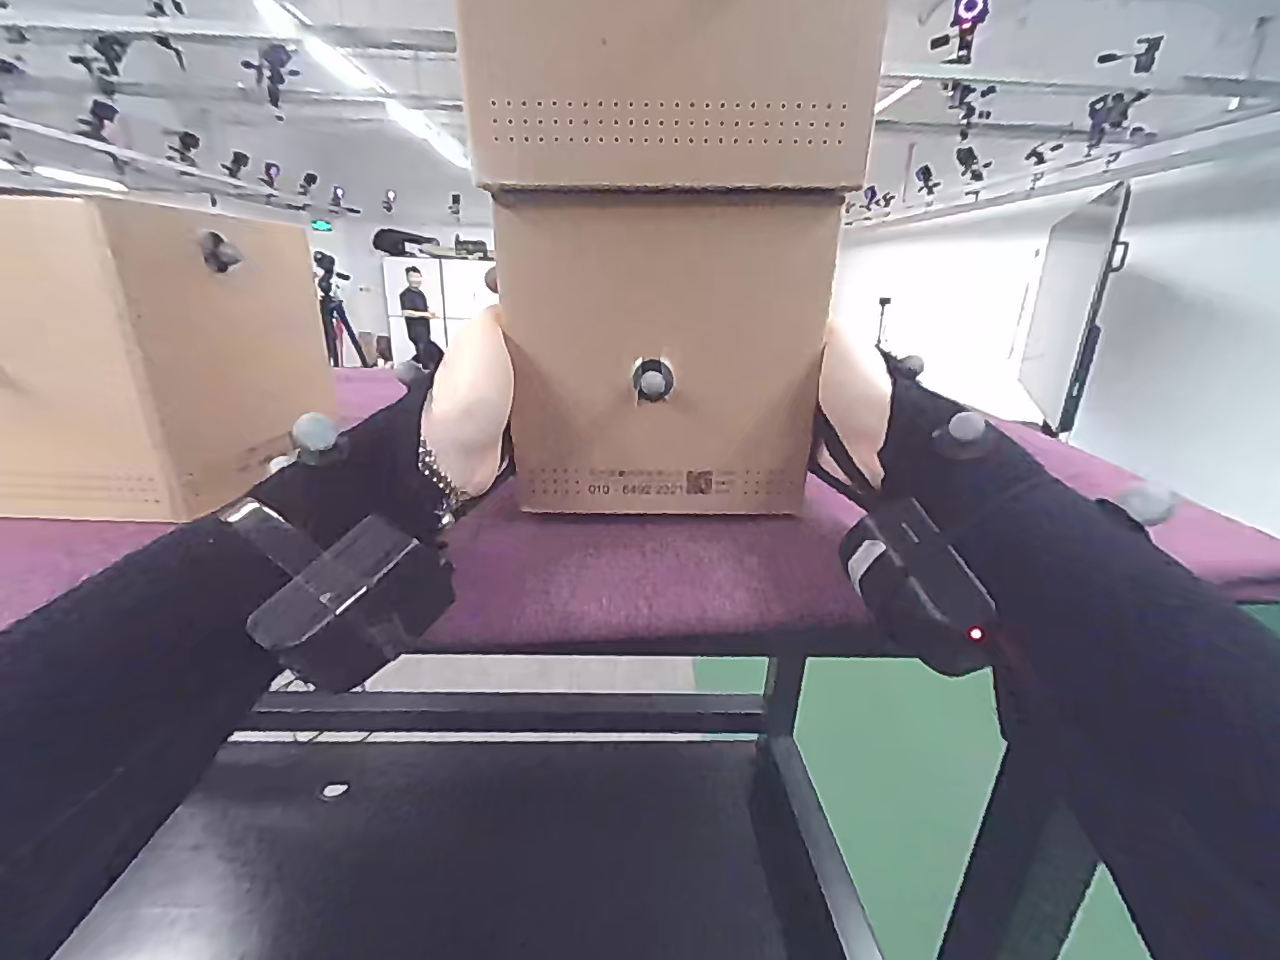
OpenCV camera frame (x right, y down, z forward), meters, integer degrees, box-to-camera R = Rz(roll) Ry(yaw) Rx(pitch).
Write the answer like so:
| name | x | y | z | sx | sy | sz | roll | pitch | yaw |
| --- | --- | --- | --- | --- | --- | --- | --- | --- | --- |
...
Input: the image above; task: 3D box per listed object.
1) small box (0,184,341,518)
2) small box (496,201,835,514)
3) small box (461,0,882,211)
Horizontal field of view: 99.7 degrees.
| name | x | y | z | sx | sy | sz | roll | pitch | yaw |
| --- | --- | --- | --- | --- | --- | --- | --- | --- | --- |
| small box | -0.330 | -0.082 | 0.351 | 0.179 | 0.176 | 0.168 | 2 | 21 | 0 |
| small box | 0.013 | -0.086 | 0.361 | 0.168 | 0.176 | 0.179 | 1 | 23 | 0 |
| small box | 0.014 | -0.229 | 0.283 | 0.179 | 0.176 | 0.168 | -1 | 22 | -1 |
